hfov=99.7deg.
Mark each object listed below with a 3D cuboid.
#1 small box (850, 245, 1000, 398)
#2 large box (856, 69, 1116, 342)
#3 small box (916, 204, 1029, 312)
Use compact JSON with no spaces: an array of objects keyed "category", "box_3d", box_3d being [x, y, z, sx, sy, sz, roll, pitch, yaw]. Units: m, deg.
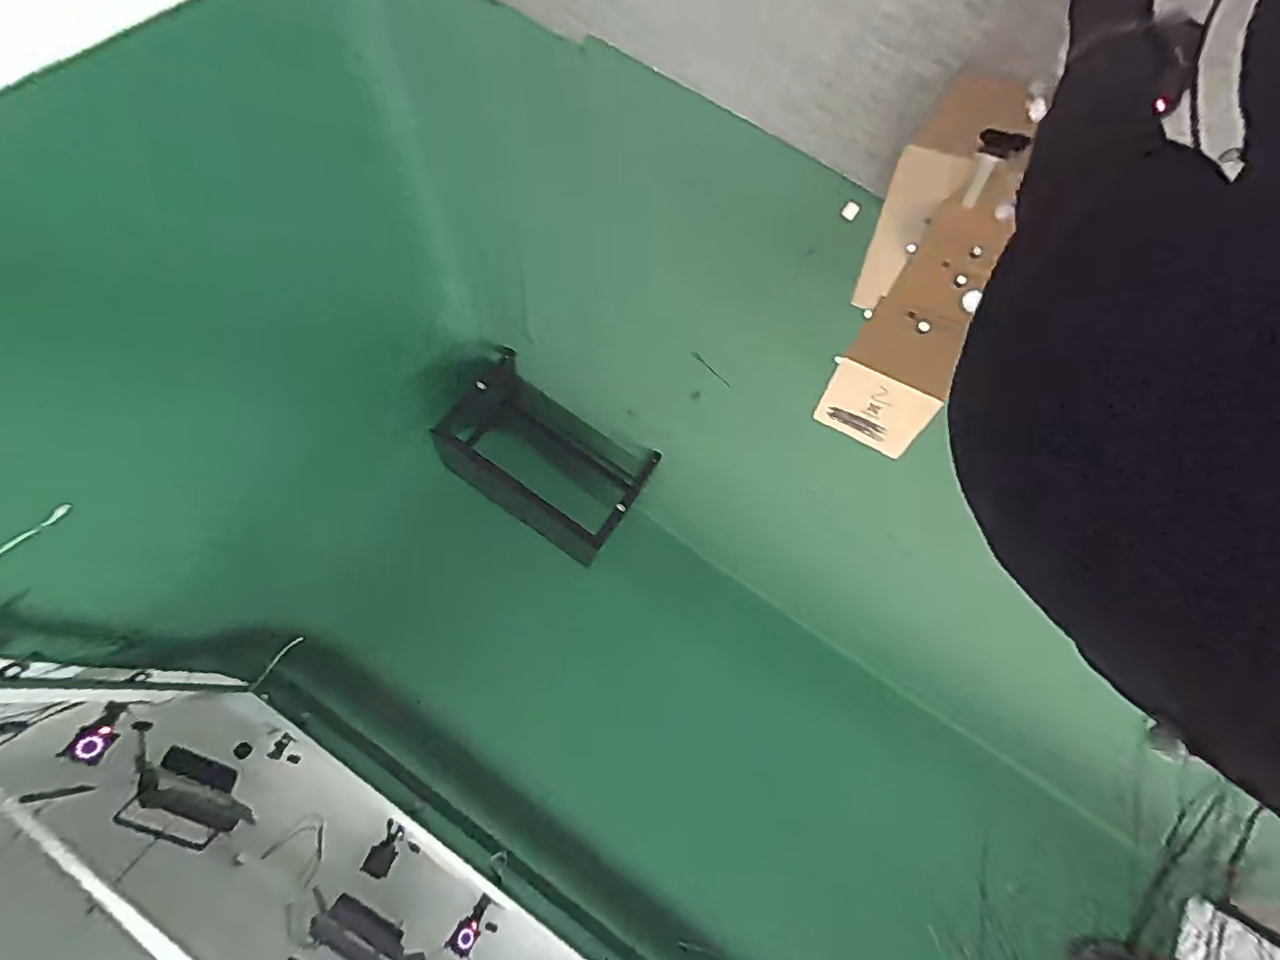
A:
[{"category":"small box","box_3d":[0.528,-0.294,1.007,0.168,0.176,0.179,30,156,13]},{"category":"large box","box_3d":[0.730,-0.595,1.196,0.320,0.320,0.408,29,158,20]},{"category":"small box","box_3d":[0.622,-0.410,1.070,0.179,0.176,0.168,30,156,14]}]
